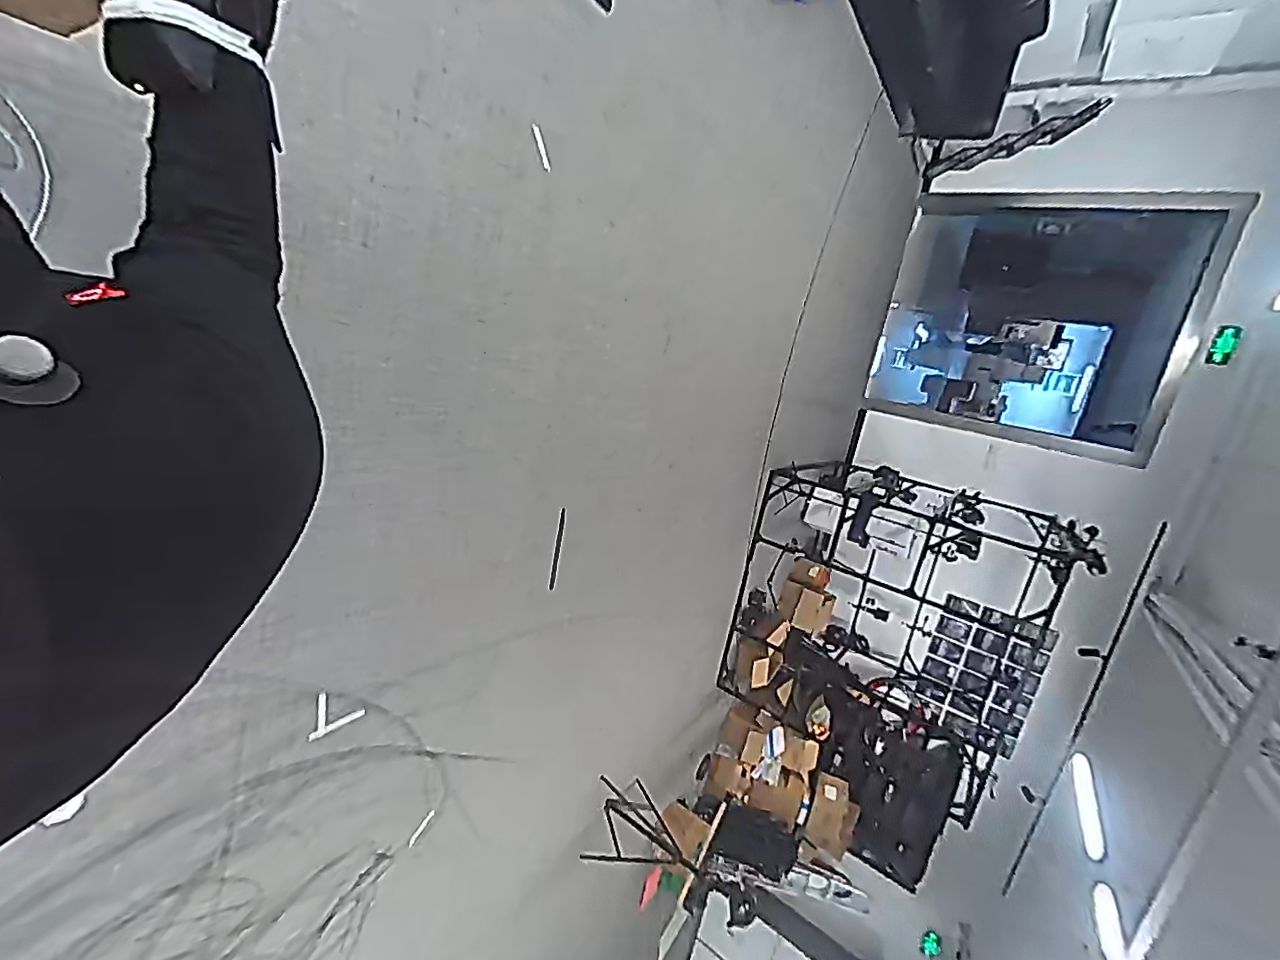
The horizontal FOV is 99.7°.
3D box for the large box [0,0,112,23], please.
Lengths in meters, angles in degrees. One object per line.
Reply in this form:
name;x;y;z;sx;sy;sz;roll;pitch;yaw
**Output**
large box;-0.519;-0.514;0.246;0.408;0.320;0.320;-8;116;-56
